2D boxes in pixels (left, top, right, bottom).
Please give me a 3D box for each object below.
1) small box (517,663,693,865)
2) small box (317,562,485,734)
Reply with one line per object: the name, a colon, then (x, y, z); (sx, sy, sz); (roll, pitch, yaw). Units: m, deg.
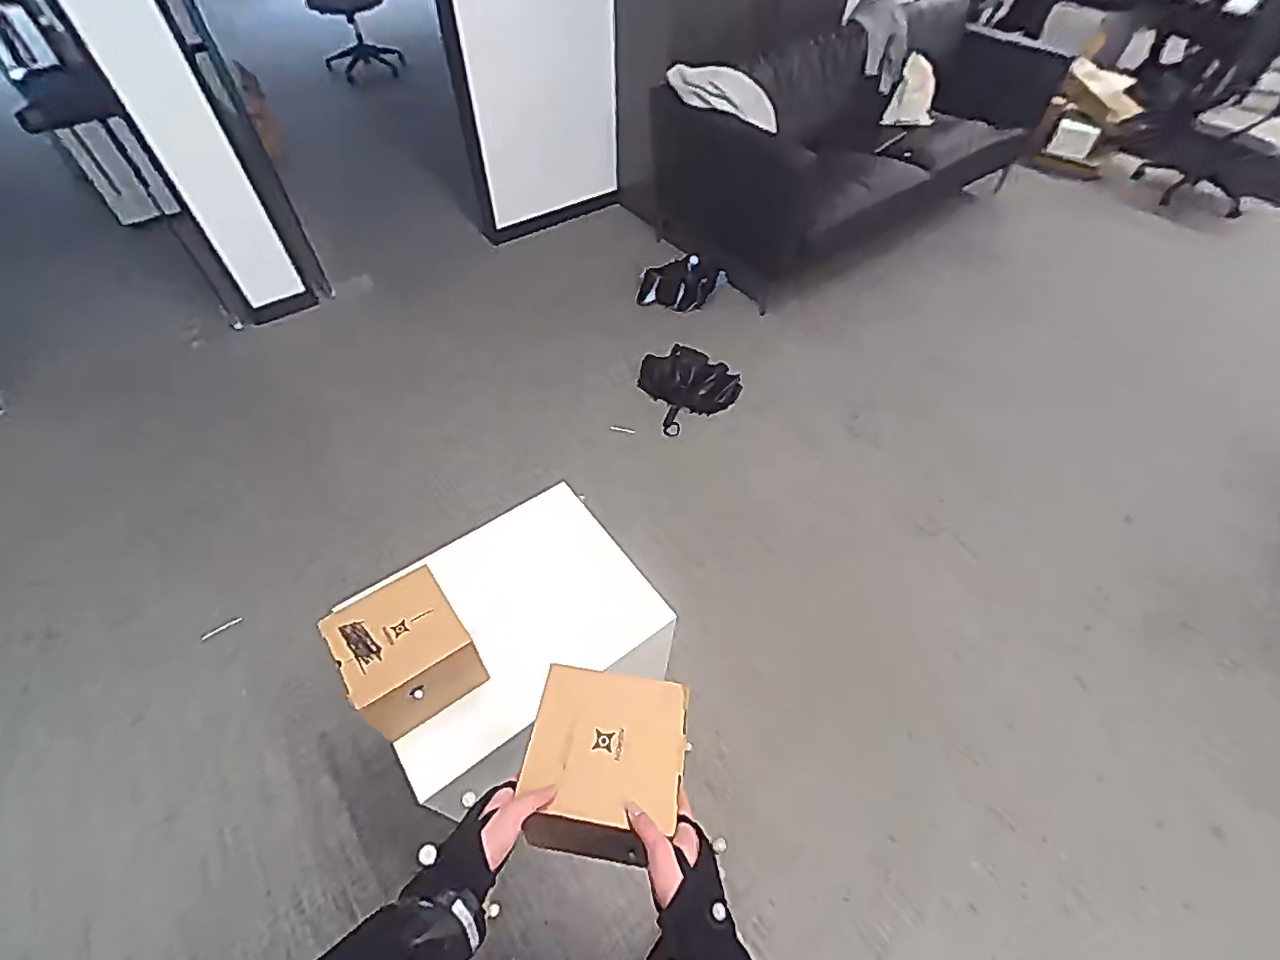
small box: (-0.035, 0.350, 0.661); (0.179, 0.176, 0.168); (6, 44, 3)
small box: (-0.369, 0.270, 0.859); (0.179, 0.176, 0.168); (-29, 59, -25)
